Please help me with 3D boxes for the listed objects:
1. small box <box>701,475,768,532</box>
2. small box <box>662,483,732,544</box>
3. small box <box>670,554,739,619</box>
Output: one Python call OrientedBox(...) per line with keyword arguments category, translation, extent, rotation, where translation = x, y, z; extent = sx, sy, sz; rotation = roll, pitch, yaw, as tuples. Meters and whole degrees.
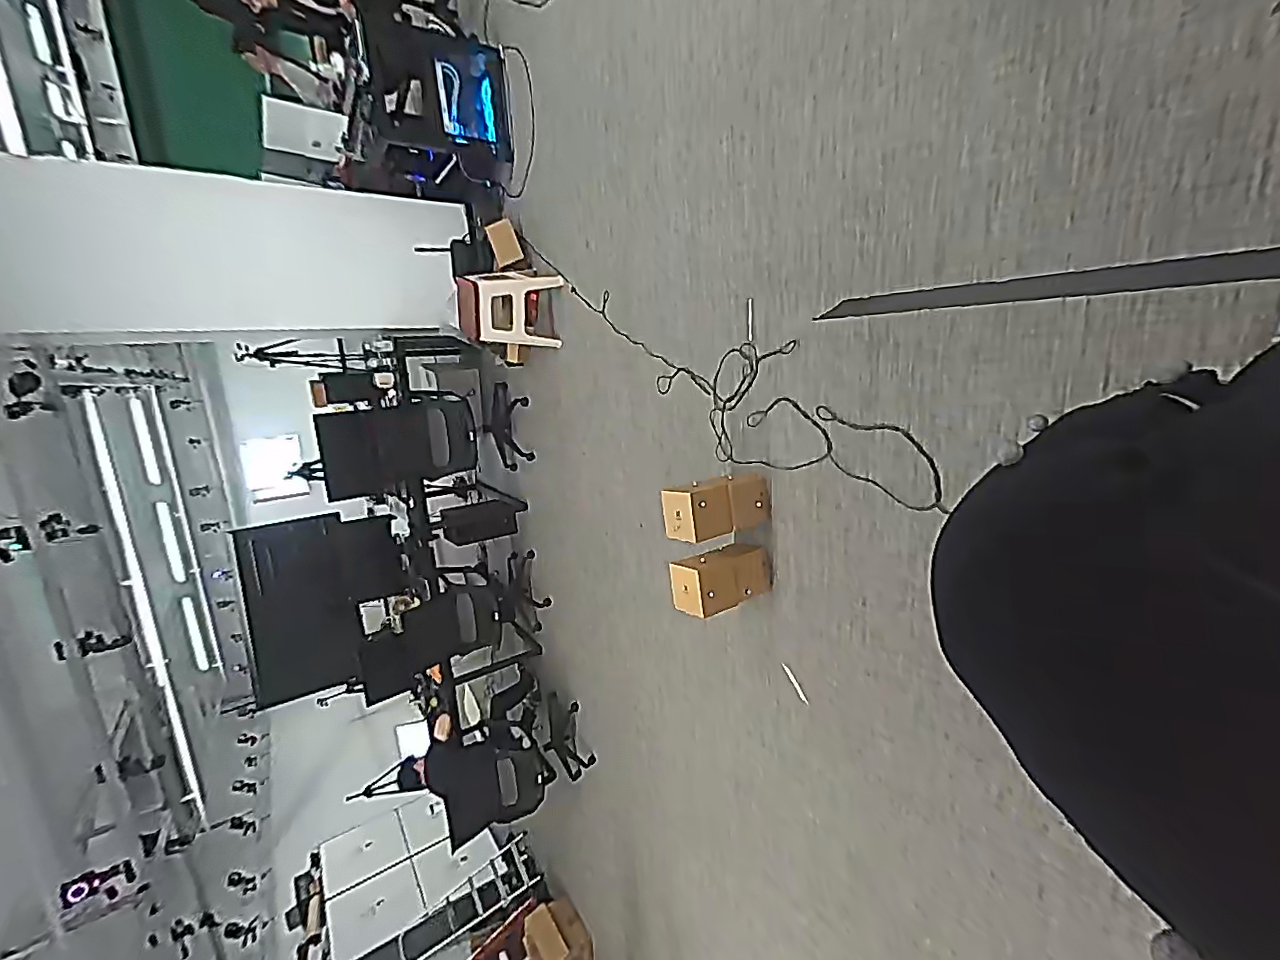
OrientedBox(category="small box", translation=(0.343, 0.079, 1.964), extent=(0.179, 0.176, 0.168), rotation=(8, 107, 55))
OrientedBox(category="small box", translation=(0.201, 0.109, 1.885), extent=(0.168, 0.176, 0.179), rotation=(5, 105, 57))
OrientedBox(category="small box", translation=(0.233, 0.372, 1.931), extent=(0.168, 0.176, 0.179), rotation=(2, 102, 57))
